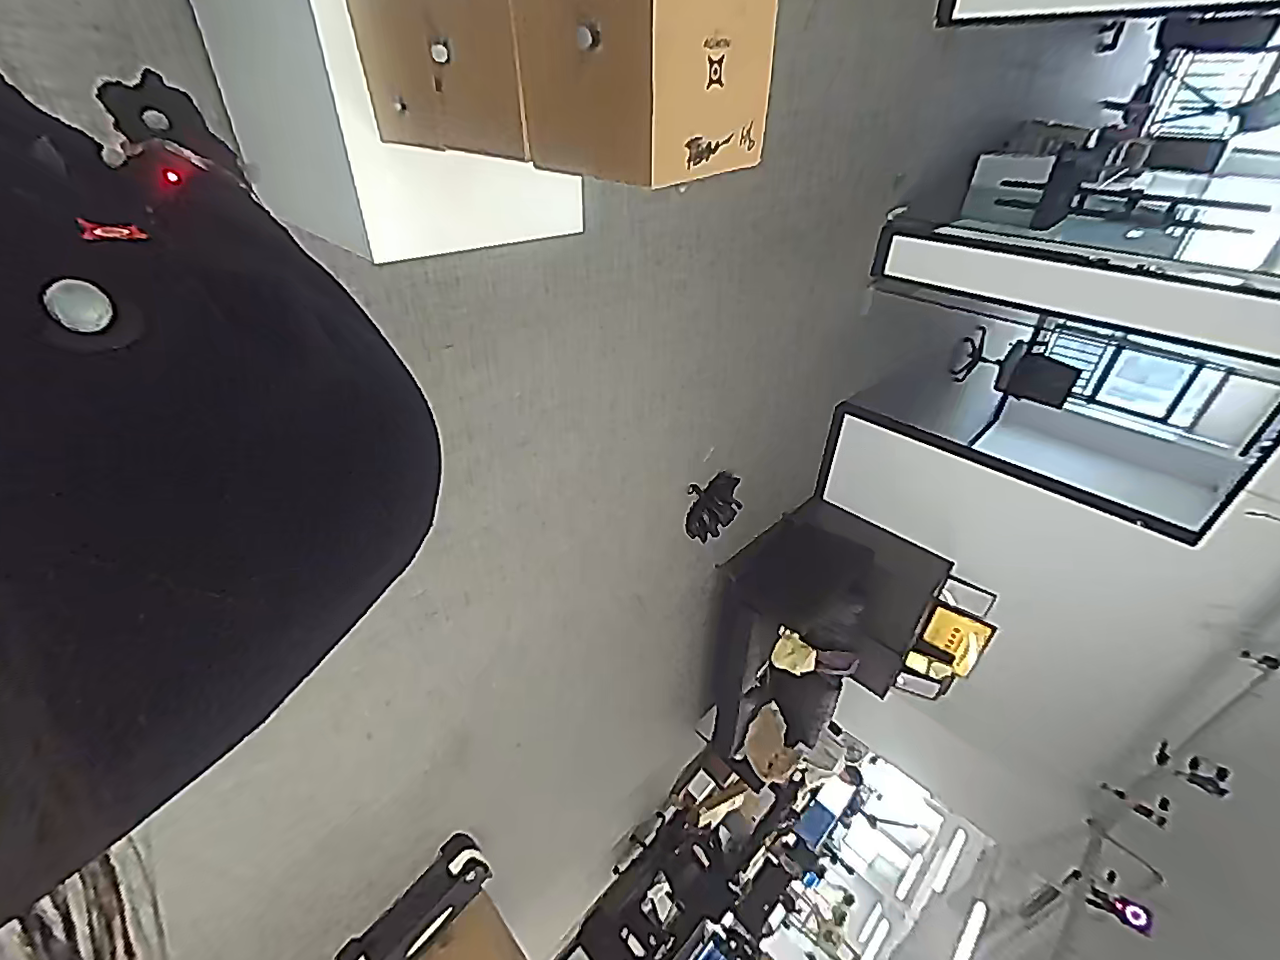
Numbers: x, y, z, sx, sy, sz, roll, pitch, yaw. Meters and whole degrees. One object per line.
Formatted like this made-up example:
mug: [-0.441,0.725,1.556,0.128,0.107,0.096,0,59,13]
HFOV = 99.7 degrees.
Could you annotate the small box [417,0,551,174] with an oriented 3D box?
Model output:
small box: [-0.104,-0.444,0.581,0.179,0.176,0.168,-35,139,-33]

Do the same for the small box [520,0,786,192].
small box: [0.010,-0.375,0.486,0.168,0.176,0.179,-33,137,-33]

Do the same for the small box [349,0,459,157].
small box: [-0.226,-0.514,0.667,0.168,0.176,0.179,-33,136,-34]
